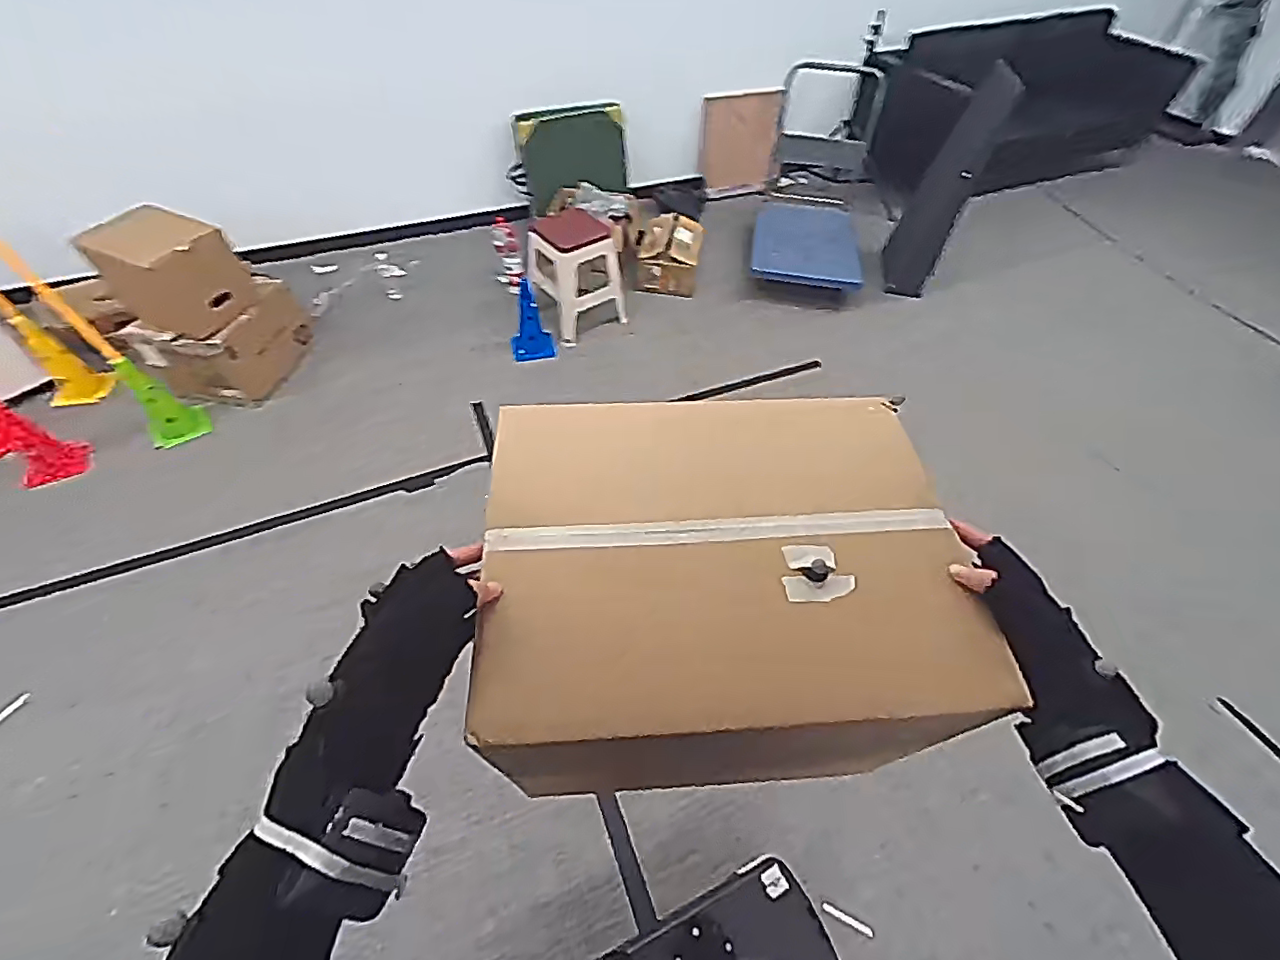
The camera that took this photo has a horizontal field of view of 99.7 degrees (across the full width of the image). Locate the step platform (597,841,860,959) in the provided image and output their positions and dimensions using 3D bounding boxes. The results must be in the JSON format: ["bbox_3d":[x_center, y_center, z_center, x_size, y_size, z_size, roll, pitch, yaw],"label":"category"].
[{"bbox_3d":[0.124,1.080,1.147,0.684,0.204,0.286,-20,54,-18],"label":"step platform"}]

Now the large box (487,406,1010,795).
[{"bbox_3d":[0.067,0.139,0.601,0.408,0.320,0.320,-2,55,-5],"label":"large box"}]
